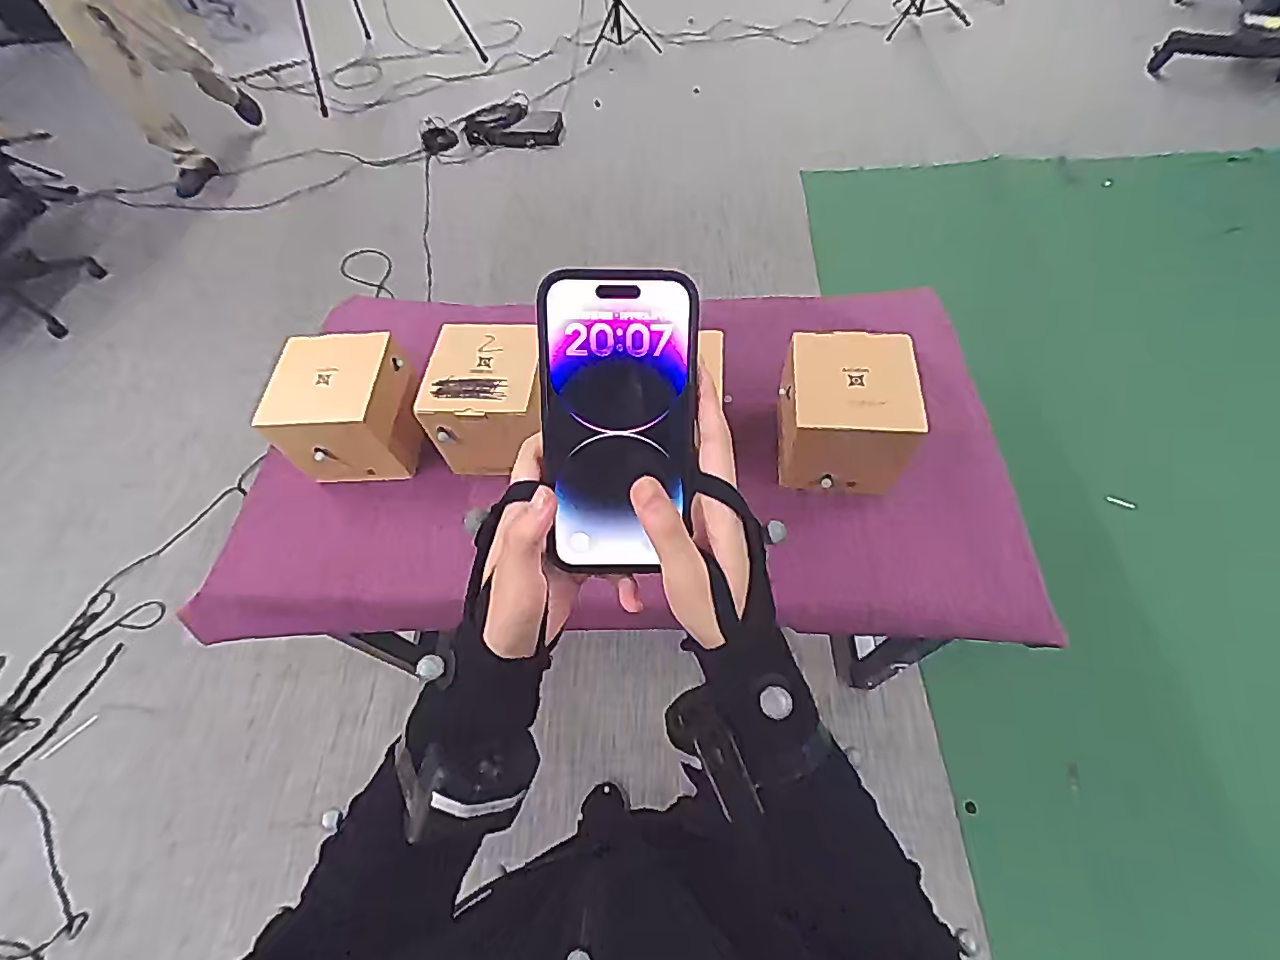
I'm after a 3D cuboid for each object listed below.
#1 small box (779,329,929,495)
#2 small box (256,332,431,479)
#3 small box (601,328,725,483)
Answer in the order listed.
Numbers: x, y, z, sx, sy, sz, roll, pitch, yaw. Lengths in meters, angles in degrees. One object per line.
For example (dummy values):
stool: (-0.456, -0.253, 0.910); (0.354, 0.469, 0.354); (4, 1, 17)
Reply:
small box: (0.301, -0.099, 0.803); (0.168, 0.176, 0.179); (3, 59, 8)
small box: (-0.458, -0.111, 0.870); (0.168, 0.176, 0.179); (-3, 58, 3)
small box: (0.042, -0.109, 0.828); (0.168, 0.176, 0.179); (3, 59, 6)
